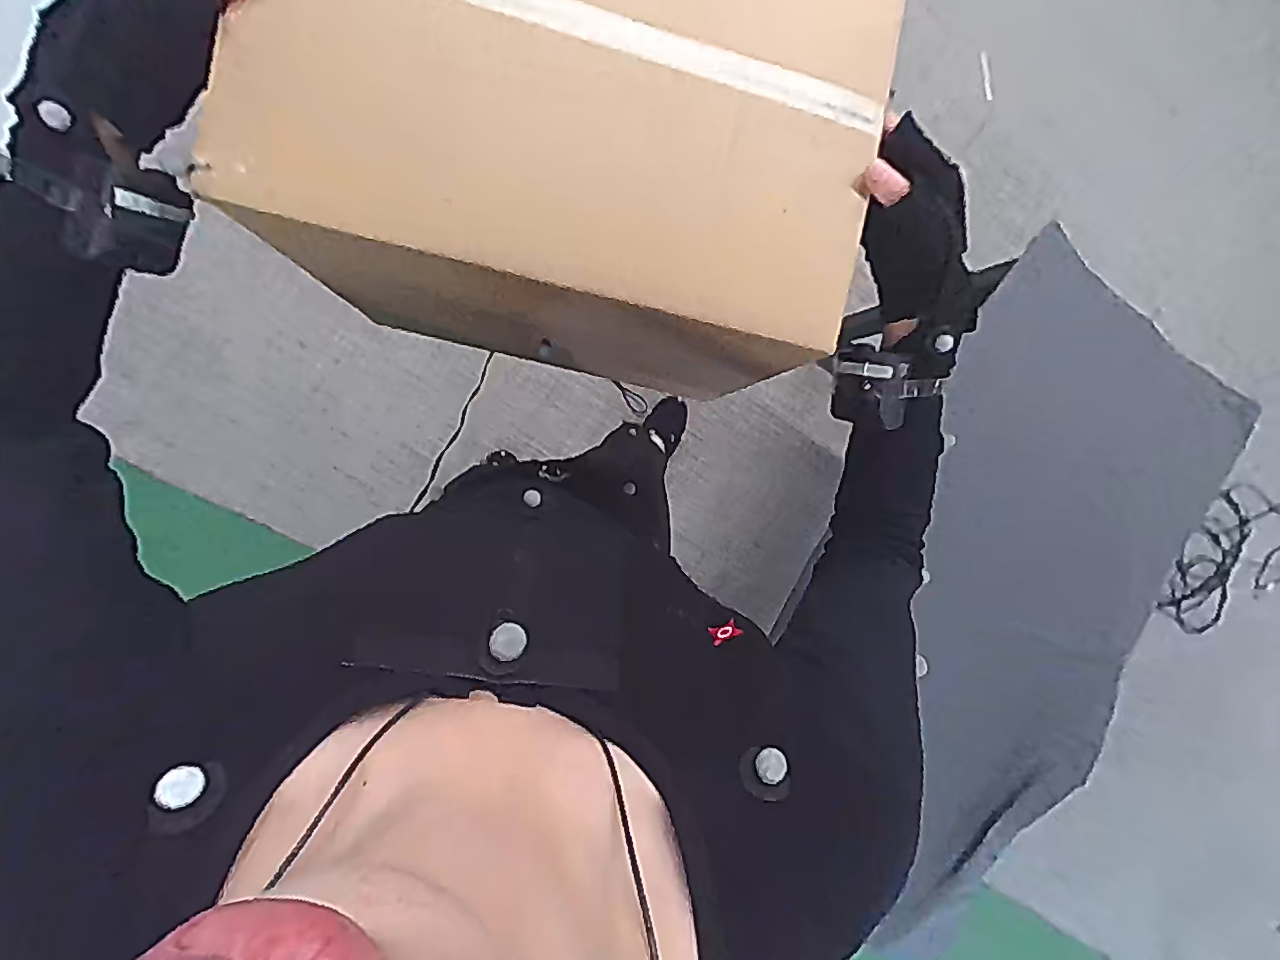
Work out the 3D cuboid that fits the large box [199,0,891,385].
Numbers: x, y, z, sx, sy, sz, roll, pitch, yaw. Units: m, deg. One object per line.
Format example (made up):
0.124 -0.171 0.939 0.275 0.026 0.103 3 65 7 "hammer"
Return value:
-0.057 -0.287 0.486 0.408 0.320 0.320 11 90 -8 "large box"
